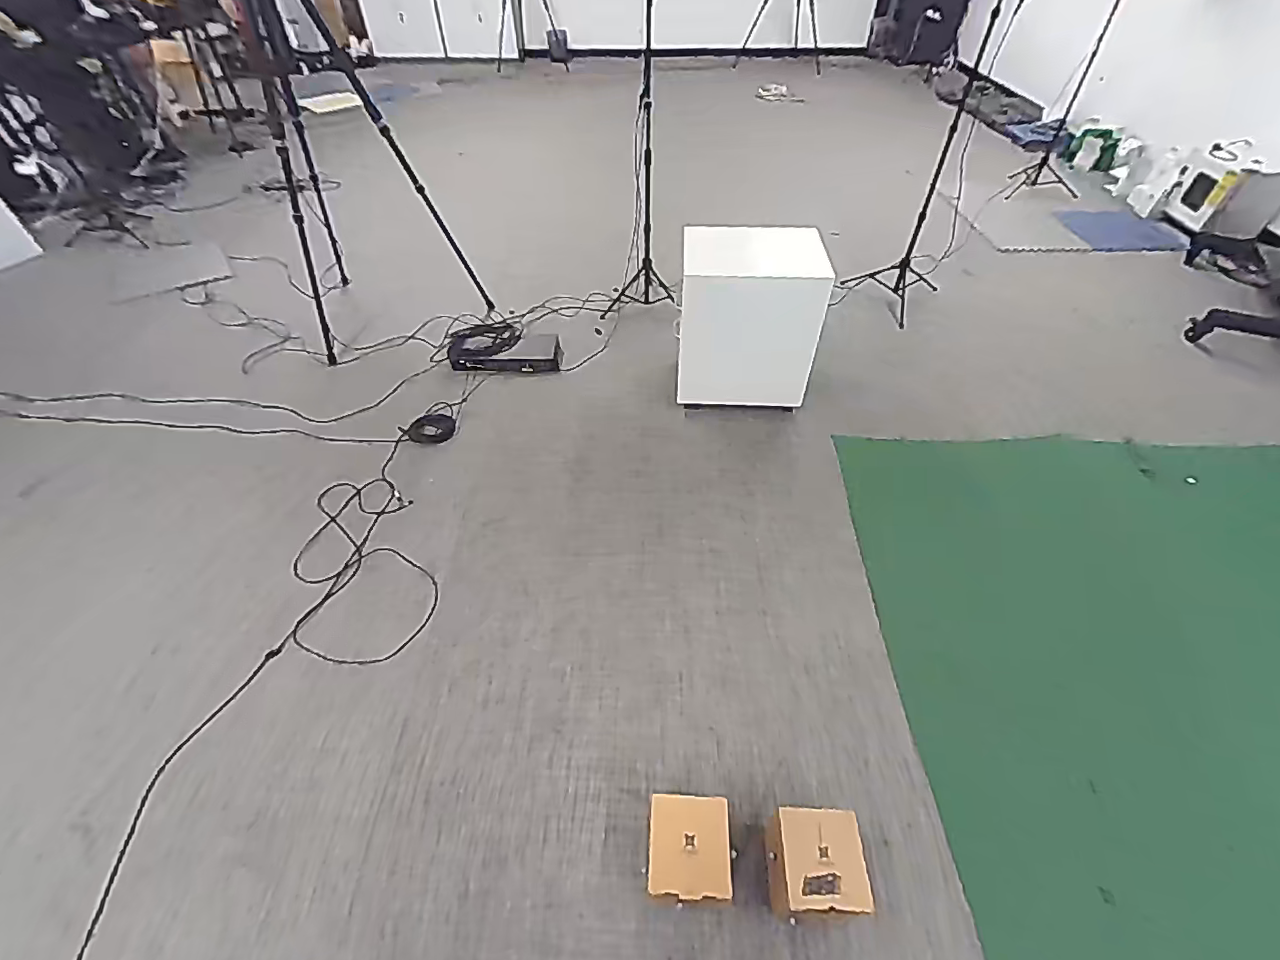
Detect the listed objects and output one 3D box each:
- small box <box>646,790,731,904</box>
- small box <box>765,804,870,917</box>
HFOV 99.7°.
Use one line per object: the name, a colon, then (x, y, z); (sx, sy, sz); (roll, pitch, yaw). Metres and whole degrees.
small box: (0.099, 0.793, 1.167); (0.168, 0.176, 0.179); (3, 48, 2)
small box: (0.367, 0.812, 1.152); (0.168, 0.176, 0.179); (2, 47, 2)
